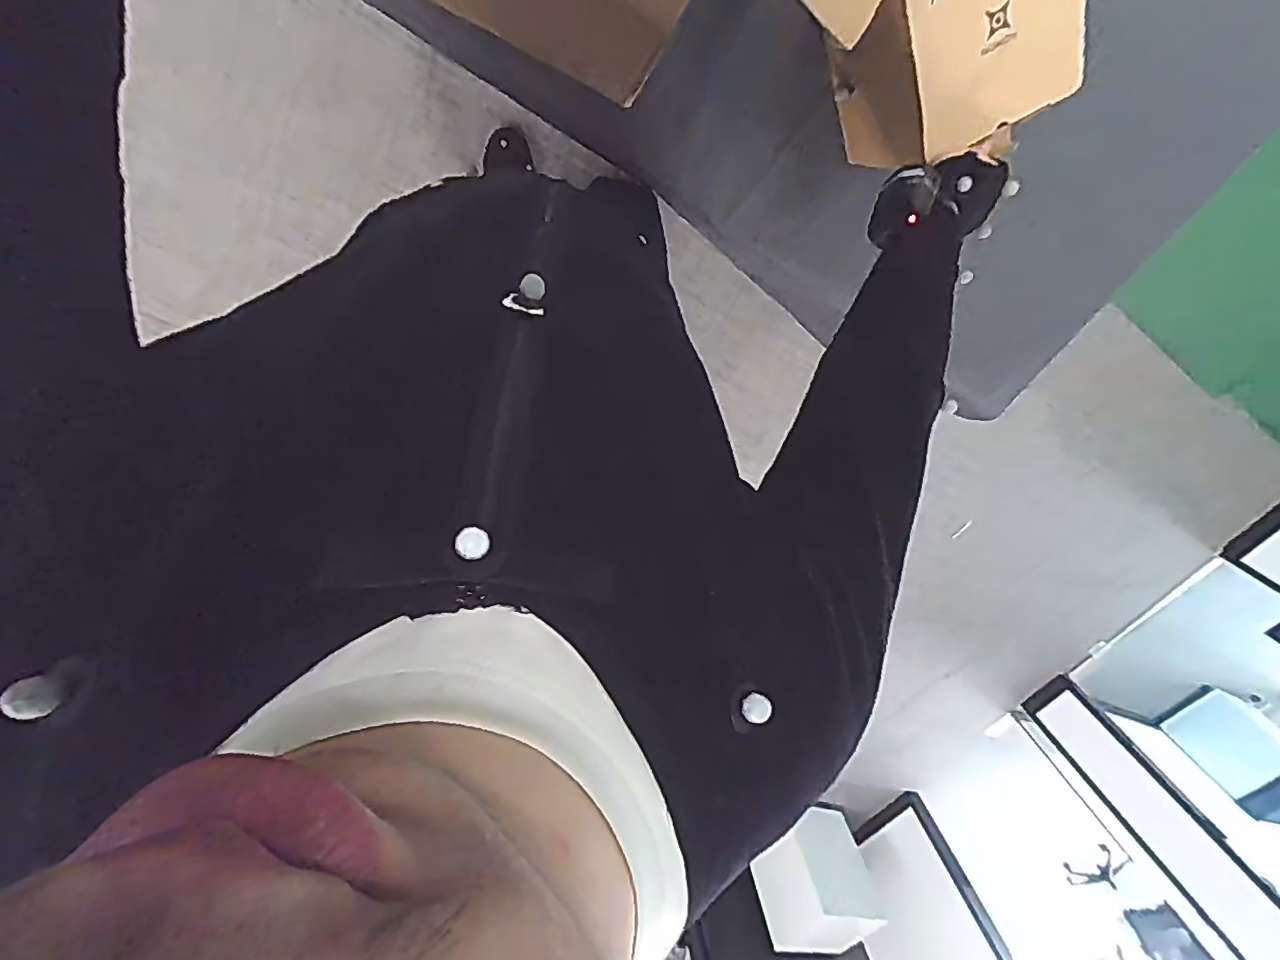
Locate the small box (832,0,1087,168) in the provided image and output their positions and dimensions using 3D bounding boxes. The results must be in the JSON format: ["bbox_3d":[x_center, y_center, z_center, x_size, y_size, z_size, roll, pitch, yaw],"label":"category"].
[{"bbox_3d":[0.326,-0.466,0.572,0.168,0.176,0.179,-24,125,7],"label":"small box"}]
